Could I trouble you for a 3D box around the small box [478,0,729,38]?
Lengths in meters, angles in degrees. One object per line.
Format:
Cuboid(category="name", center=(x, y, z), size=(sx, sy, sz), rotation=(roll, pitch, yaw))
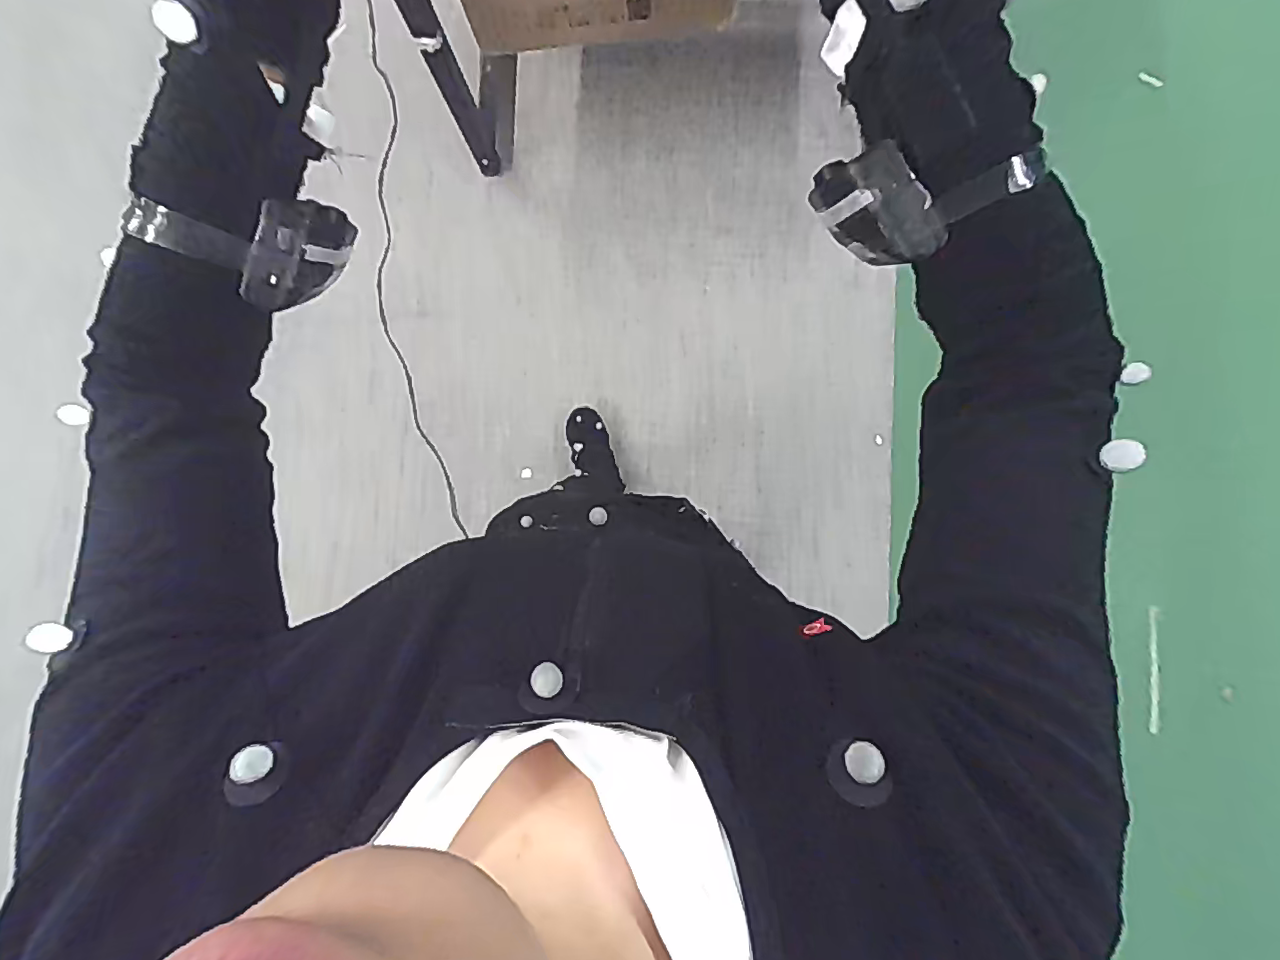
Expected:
Cuboid(category="small box", center=(-0.030, -0.383, 0.276), size=(0.168, 0.176, 0.179), rotation=(-5, 85, 2))
